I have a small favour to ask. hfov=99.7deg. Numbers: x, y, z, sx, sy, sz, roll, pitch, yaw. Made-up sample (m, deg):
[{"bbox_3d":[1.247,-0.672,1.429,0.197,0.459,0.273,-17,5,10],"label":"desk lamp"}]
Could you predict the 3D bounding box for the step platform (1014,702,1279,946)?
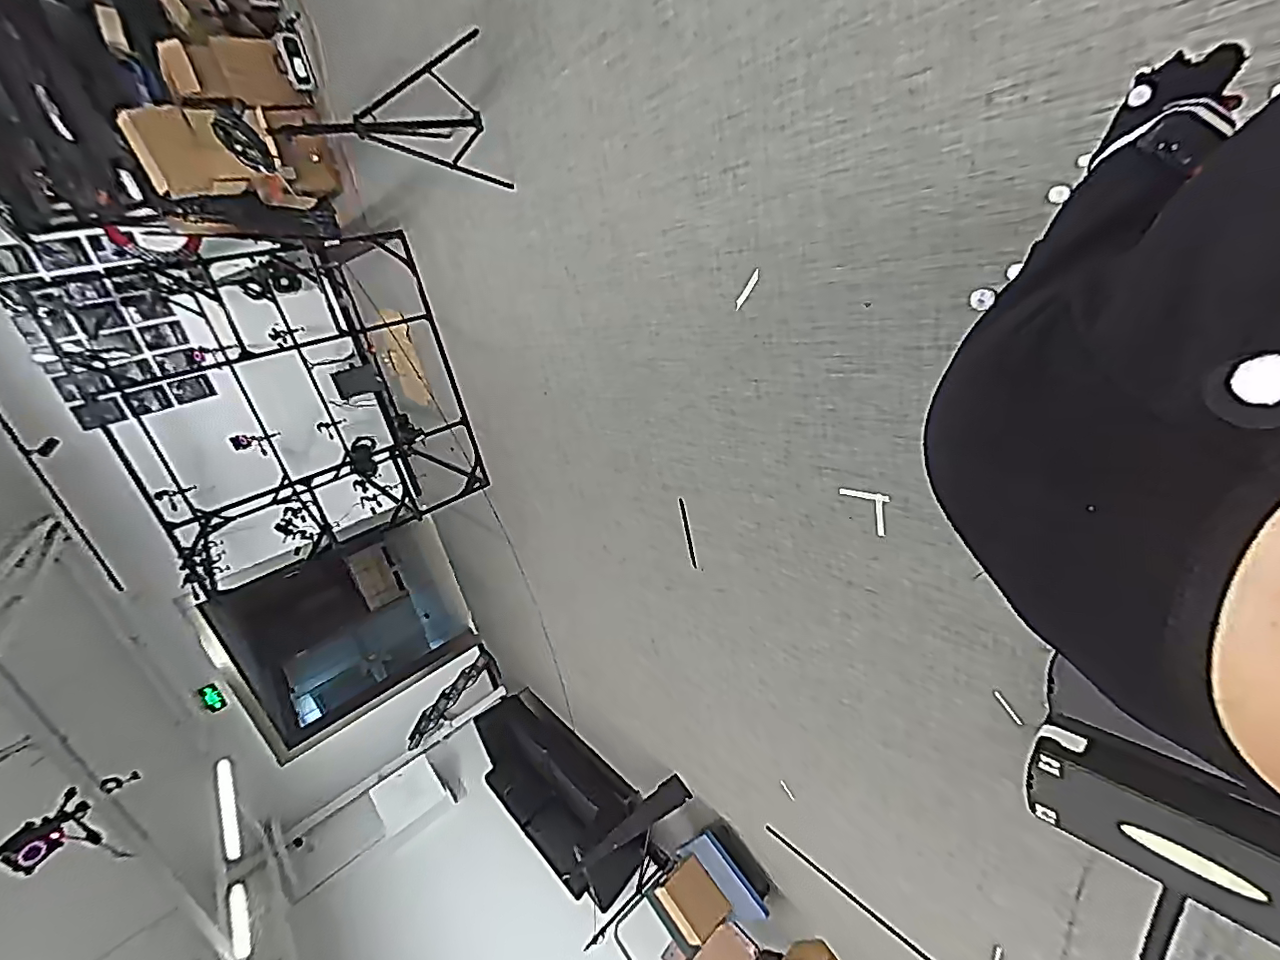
[{"bbox_3d":[1.355,0.861,1.362,0.684,0.204,0.286,15,125,50],"label":"step platform"}]
